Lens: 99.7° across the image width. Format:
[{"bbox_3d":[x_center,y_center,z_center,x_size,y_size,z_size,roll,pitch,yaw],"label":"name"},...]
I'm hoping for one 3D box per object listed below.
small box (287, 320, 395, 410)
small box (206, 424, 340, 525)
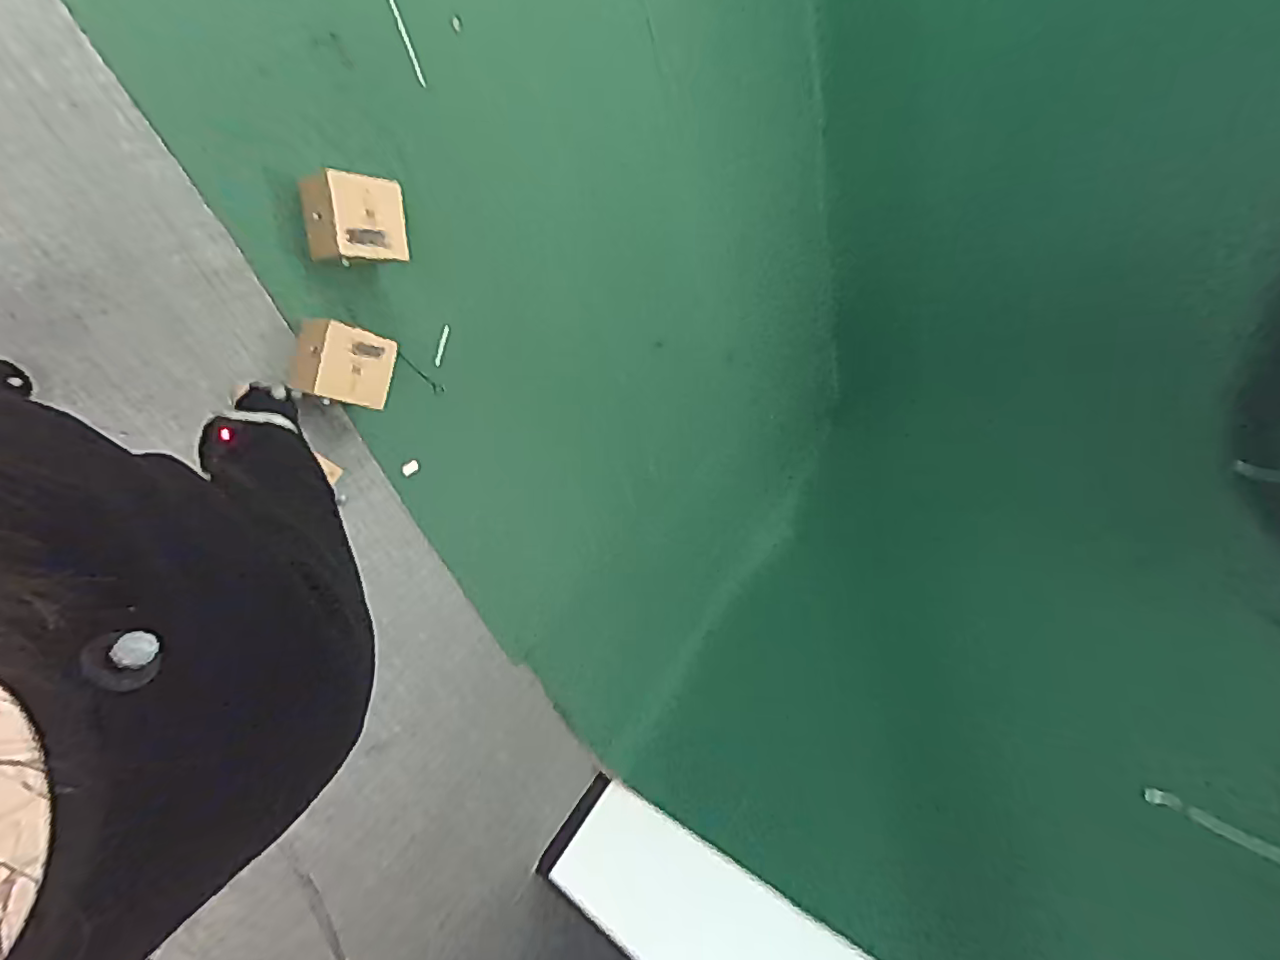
[{"bbox_3d":[-0.743,-0.284,1.338,0.168,0.176,0.179,13,91,-52],"label":"small box"},{"bbox_3d":[-0.862,-0.018,1.268,0.168,0.176,0.179,-60,138,-21],"label":"small box"}]
